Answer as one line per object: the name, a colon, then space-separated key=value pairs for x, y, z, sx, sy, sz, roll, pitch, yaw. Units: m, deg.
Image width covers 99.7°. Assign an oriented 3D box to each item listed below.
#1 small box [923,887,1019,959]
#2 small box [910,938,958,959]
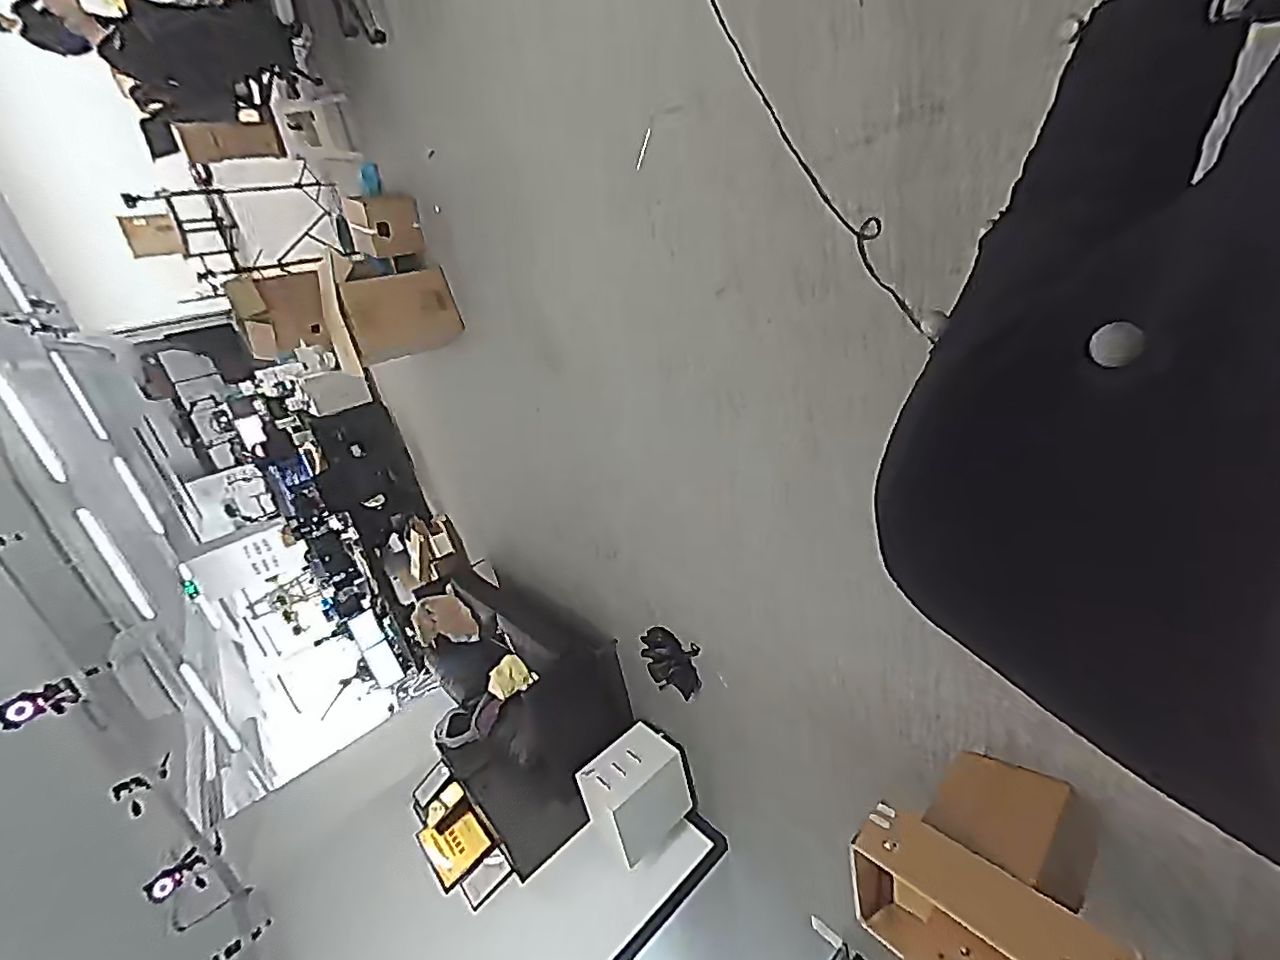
small box: x=0.878 y=1.243 z=1.425 sx=0.168 sy=0.176 sz=0.179 roll=4 pitch=117 yaw=51
small box: x=0.757 y=1.310 z=1.337 sx=0.168 sy=0.176 sz=0.179 roll=6 pitch=117 yaw=51
